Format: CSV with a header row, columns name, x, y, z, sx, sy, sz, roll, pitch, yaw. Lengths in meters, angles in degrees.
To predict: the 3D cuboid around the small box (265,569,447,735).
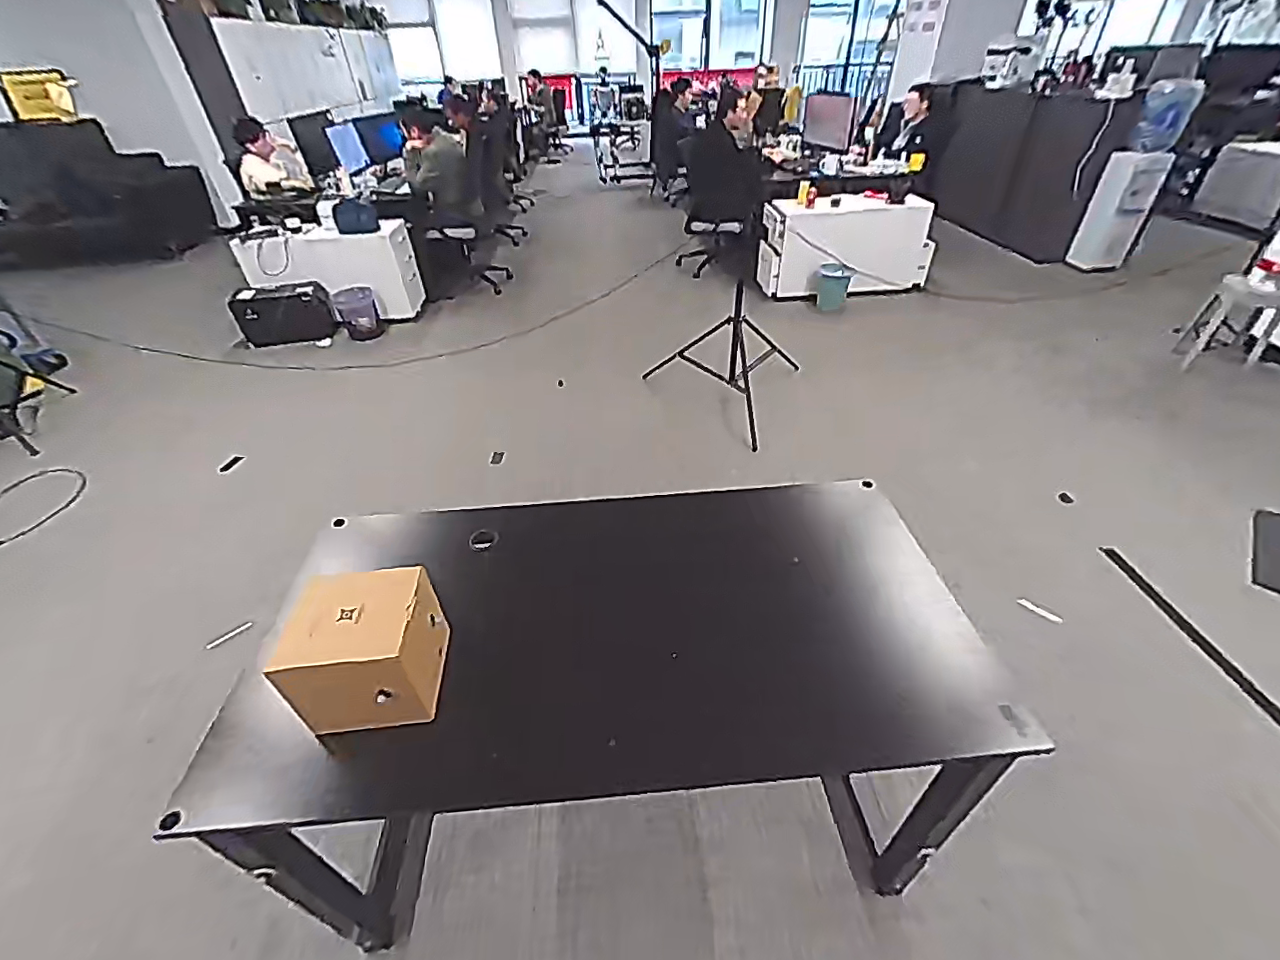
name,x,y,z,sx,sy,sz,roll,pitch,yaw
small box,-0.406,0.258,0.816,0.179,0.176,0.168,-6,37,-4
